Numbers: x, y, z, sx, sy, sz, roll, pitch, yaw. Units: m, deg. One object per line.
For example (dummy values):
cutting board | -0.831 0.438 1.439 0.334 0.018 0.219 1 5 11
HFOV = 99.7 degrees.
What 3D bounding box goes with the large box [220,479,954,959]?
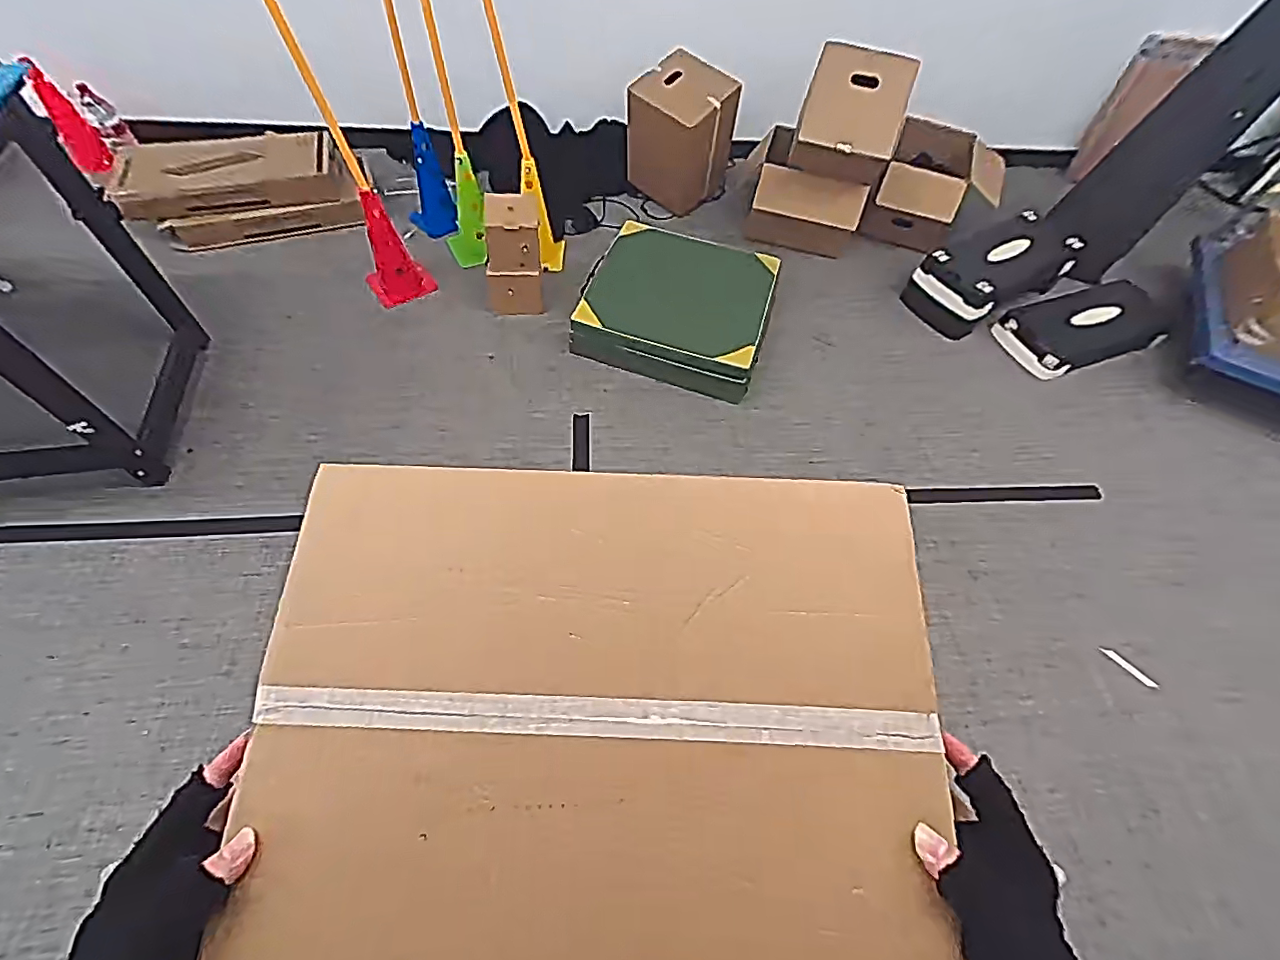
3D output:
large box | -0.025 0.200 0.472 0.408 0.320 0.320 2 70 2
